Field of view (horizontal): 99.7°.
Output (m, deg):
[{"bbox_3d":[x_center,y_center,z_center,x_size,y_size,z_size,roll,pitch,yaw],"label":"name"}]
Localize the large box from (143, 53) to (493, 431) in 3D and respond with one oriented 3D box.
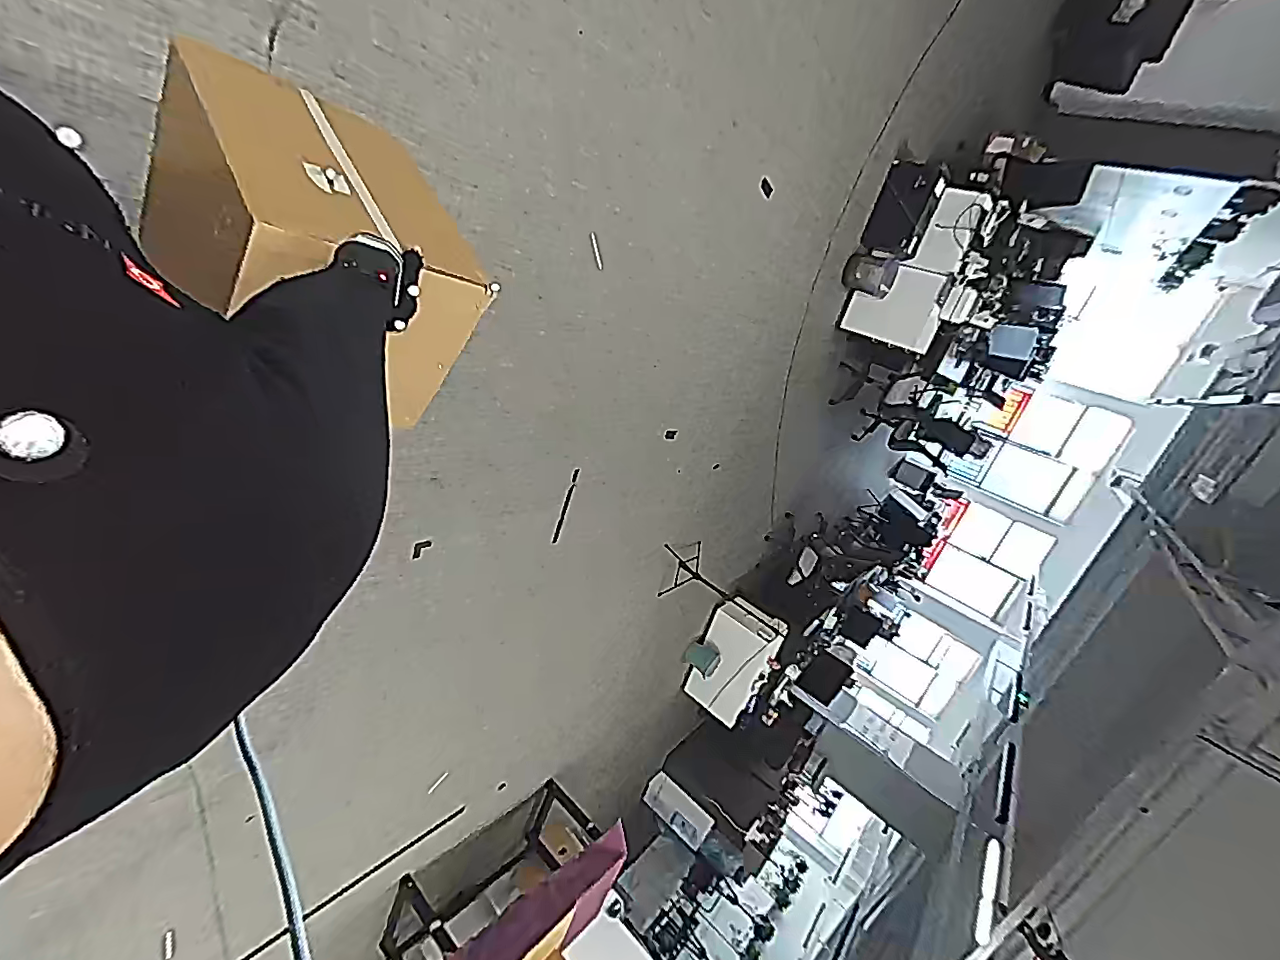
[{"bbox_3d":[-0.510,-0.330,0.846,0.320,0.408,0.320,-45,157,30],"label":"large box"}]
